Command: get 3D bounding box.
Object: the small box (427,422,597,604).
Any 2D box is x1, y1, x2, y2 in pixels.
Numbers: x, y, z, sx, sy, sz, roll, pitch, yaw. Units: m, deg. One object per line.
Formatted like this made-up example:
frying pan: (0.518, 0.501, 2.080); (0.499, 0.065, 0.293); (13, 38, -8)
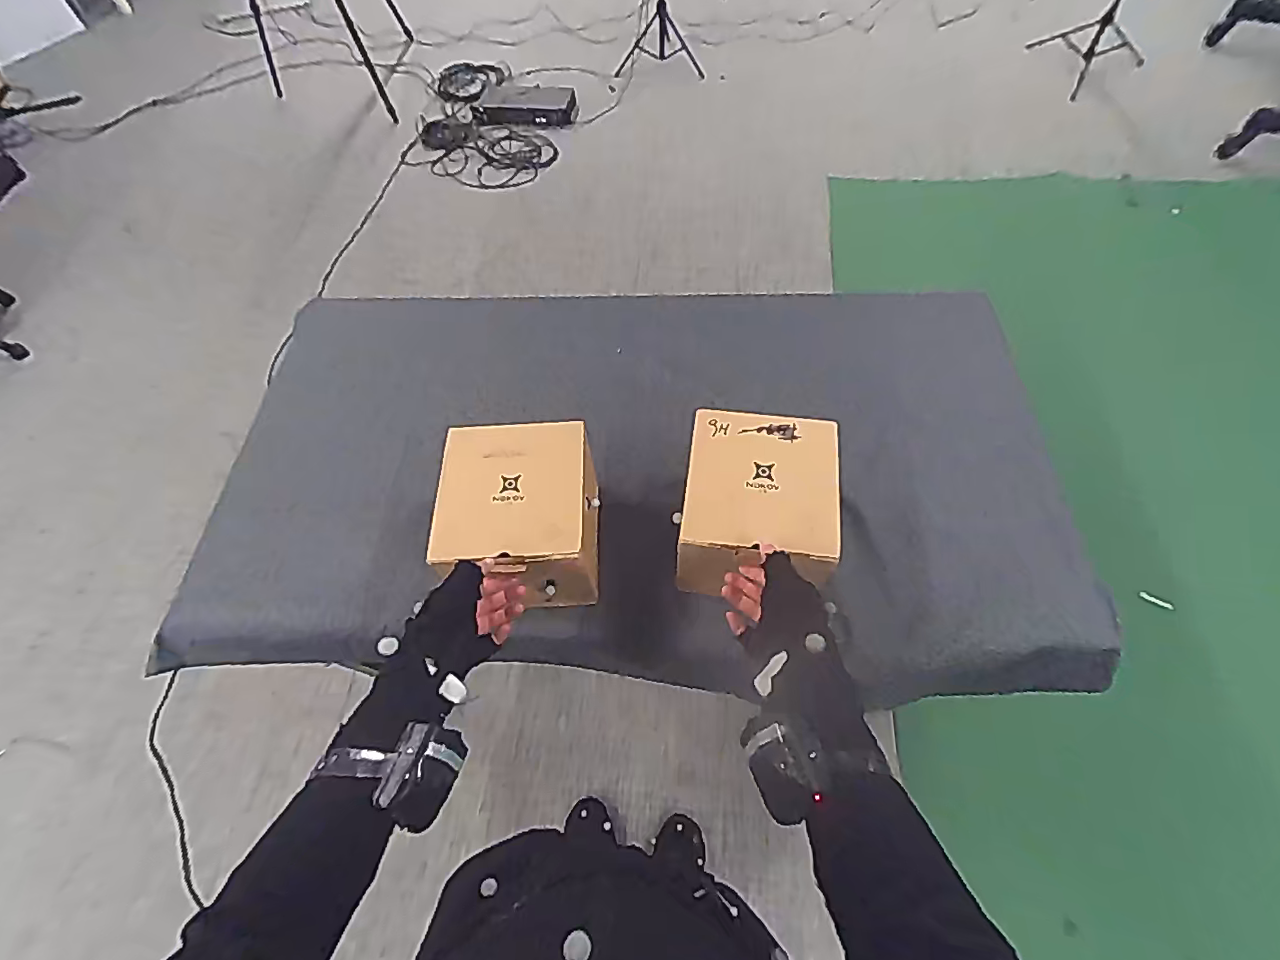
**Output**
small box: (-0.143, 0.049, 0.673); (0.168, 0.176, 0.179); (-3, 59, 0)
